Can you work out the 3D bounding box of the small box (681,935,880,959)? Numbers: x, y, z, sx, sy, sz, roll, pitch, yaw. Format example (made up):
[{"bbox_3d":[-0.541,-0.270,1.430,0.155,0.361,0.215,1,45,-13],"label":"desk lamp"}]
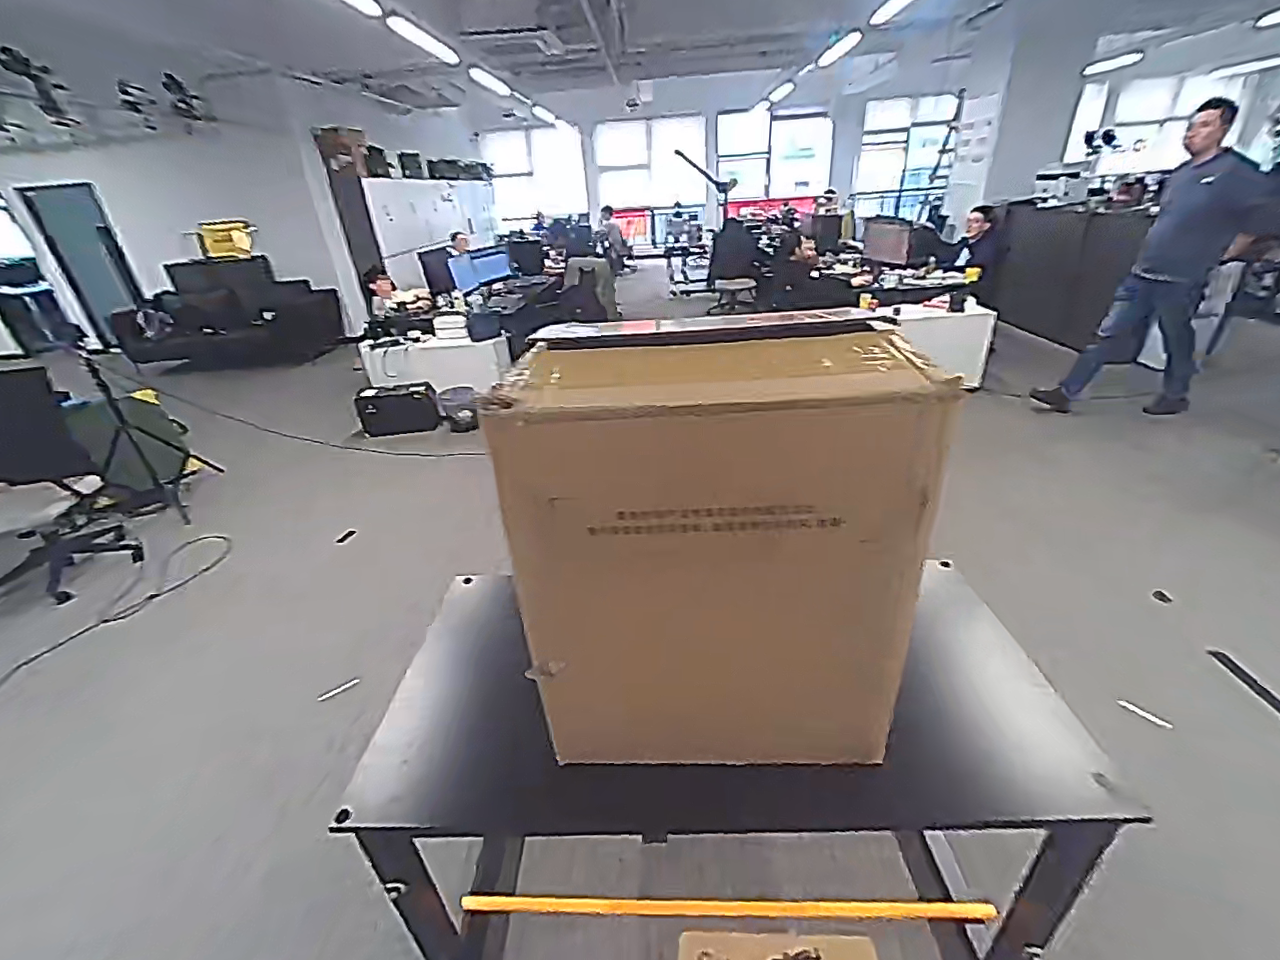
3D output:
[{"bbox_3d":[0.117,0.505,0.431,0.168,0.176,0.179,0,33,3],"label":"small box"}]
